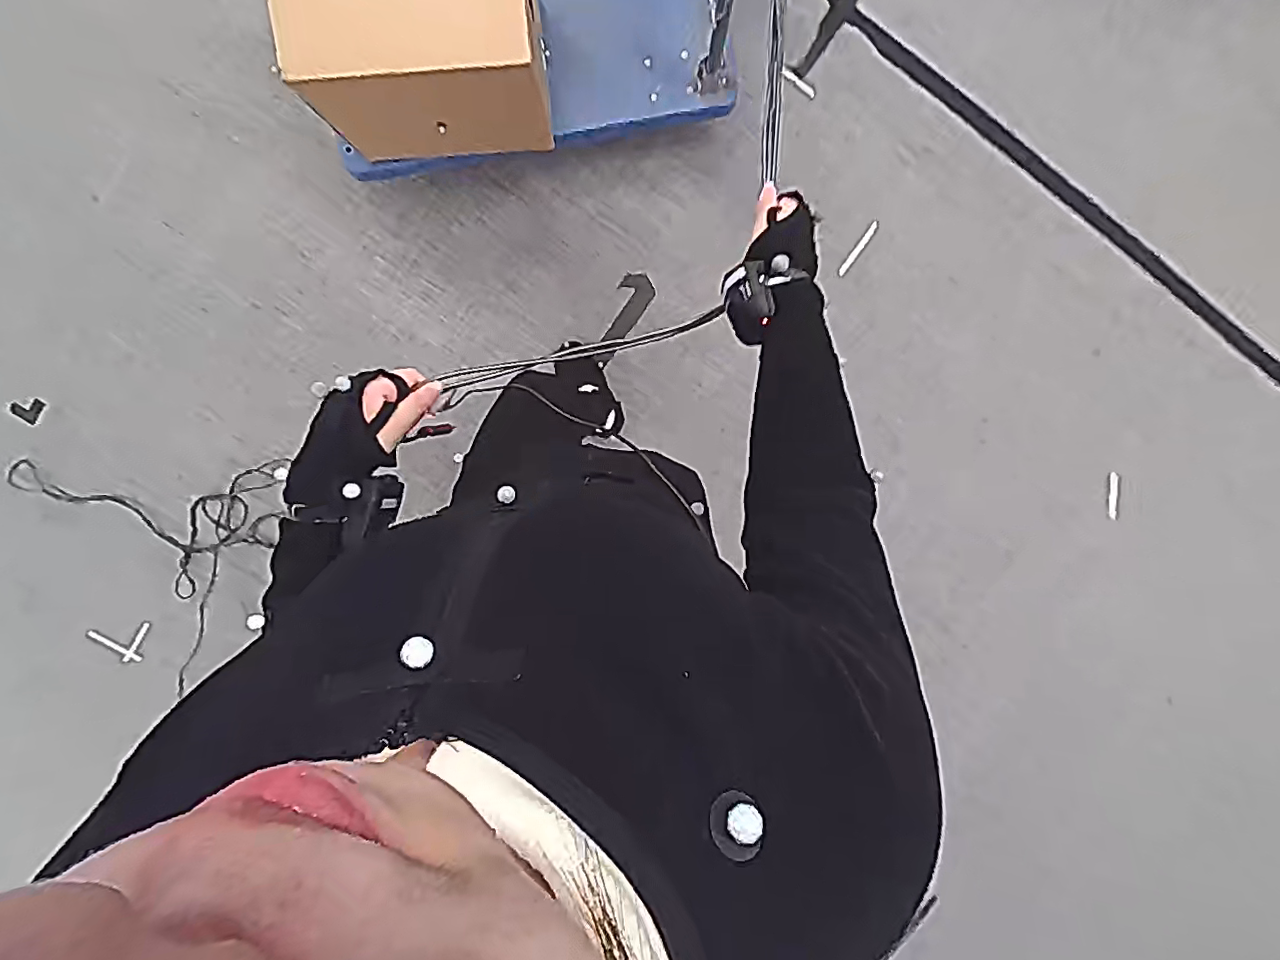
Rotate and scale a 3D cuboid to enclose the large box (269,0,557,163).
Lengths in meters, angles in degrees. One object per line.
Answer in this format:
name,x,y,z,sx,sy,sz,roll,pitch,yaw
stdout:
large box,-0.387,-0.820,0.989,0.408,0.320,0.320,-5,98,0
